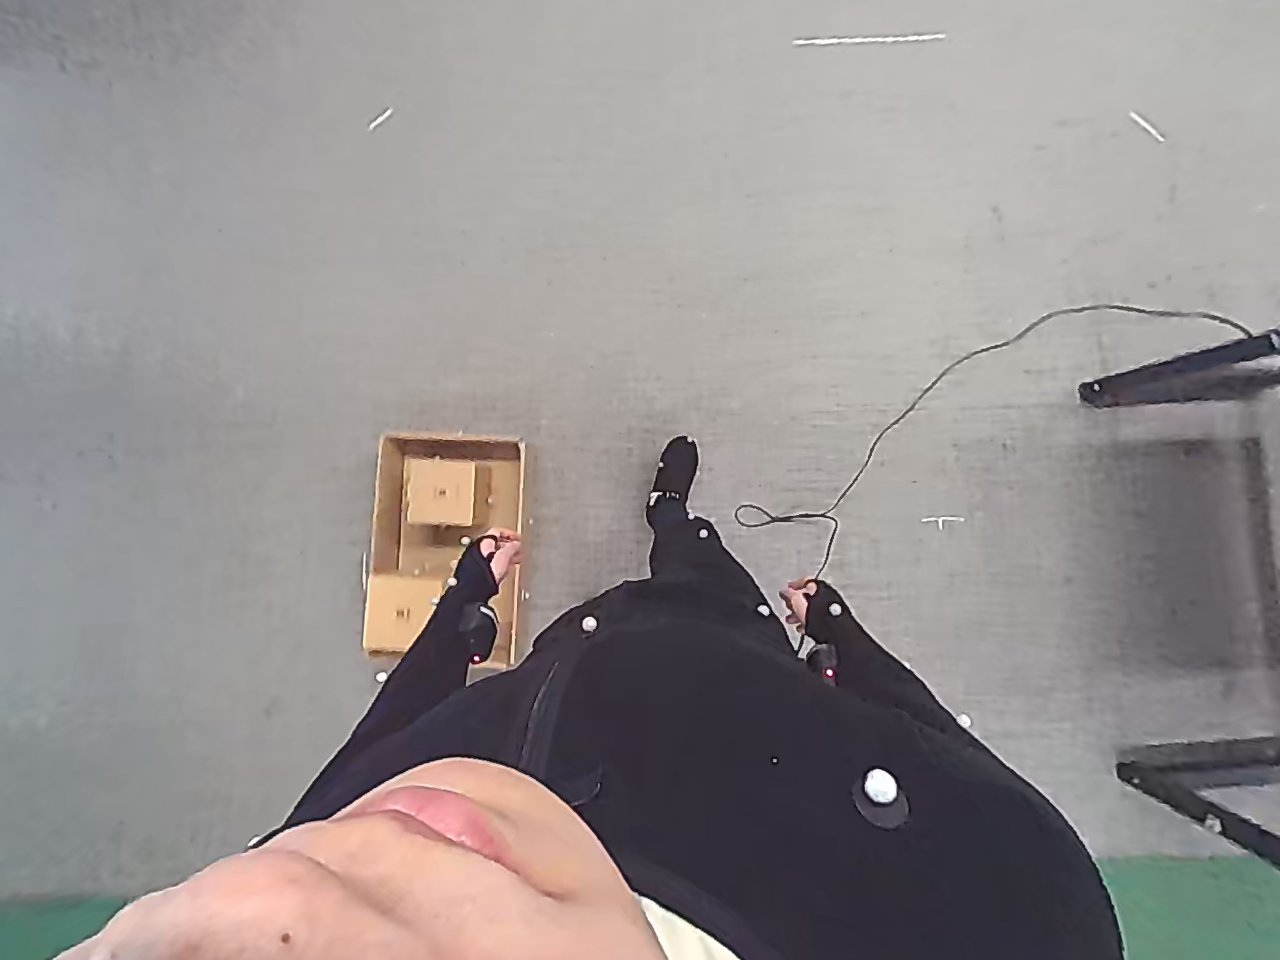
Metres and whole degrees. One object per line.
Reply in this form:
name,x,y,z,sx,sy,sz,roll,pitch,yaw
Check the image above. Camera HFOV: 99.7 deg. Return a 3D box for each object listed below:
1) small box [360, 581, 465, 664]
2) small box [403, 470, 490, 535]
small box,-0.545,0.338,1.310,0.179,0.176,0.168,2,85,1
small box,-0.528,0.063,1.491,0.179,0.176,0.168,2,88,0
